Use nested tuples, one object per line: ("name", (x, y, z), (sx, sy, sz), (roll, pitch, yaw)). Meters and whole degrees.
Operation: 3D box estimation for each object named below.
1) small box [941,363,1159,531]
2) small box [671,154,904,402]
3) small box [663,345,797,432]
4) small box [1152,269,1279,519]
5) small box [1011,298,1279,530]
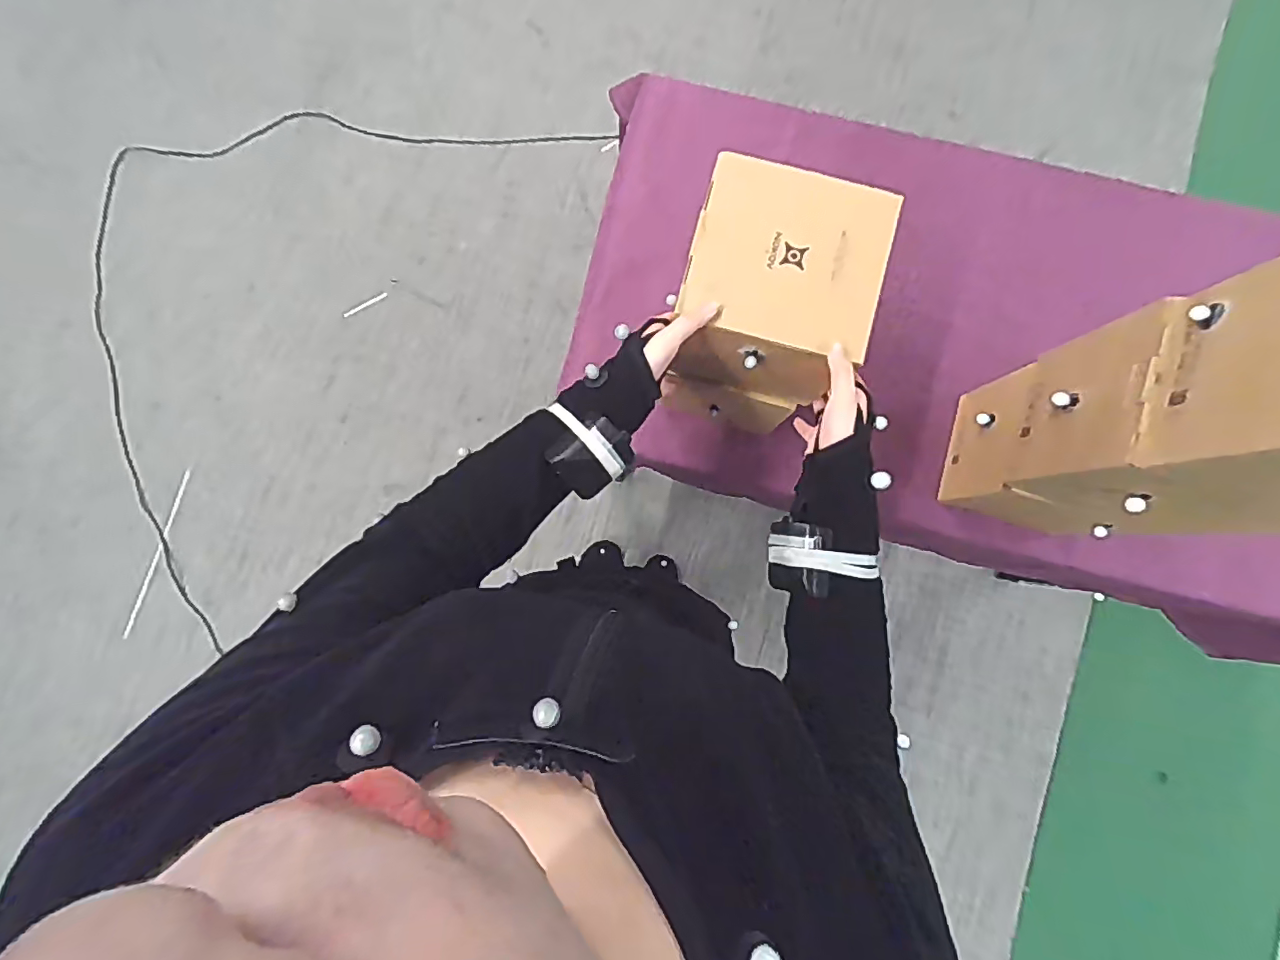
("small box", (0.534, -0.031, 0.710), (0.179, 0.176, 0.168), (16, 85, 2))
("small box", (0.136, -0.193, 0.565), (0.179, 0.176, 0.168), (16, 86, 2))
("small box", (0.133, -0.177, 0.728), (0.168, 0.176, 0.179), (18, 85, 2))
("small box", (0.532, -0.062, 0.383), (0.179, 0.176, 0.168), (20, 85, 1))
("small box", (0.526, -0.050, 0.547), (0.179, 0.176, 0.168), (20, 85, 3))
